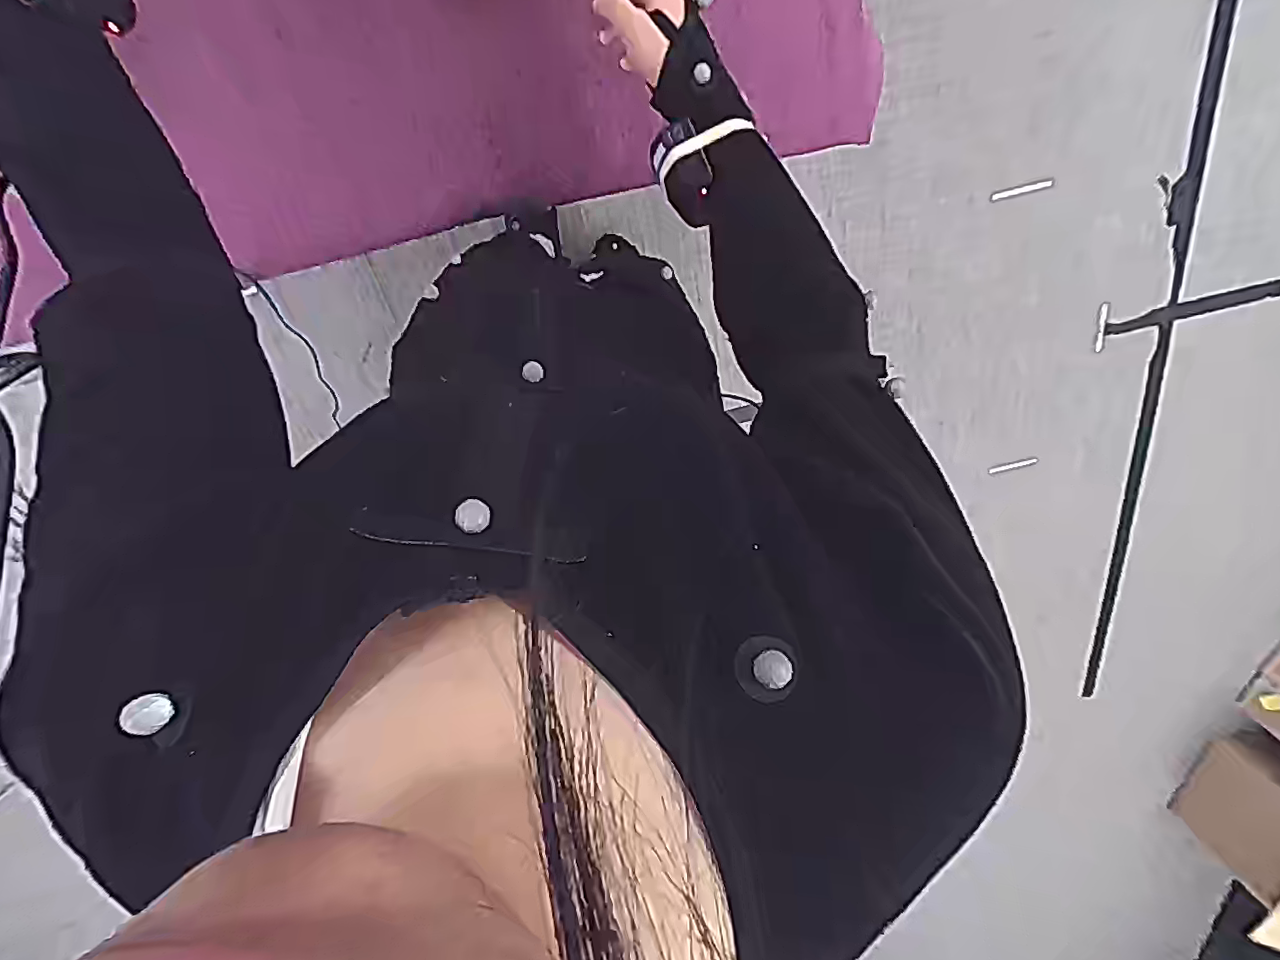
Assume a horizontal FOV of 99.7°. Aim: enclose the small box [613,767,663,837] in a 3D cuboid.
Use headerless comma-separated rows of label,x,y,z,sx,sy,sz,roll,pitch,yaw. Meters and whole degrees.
small box,-0.011,1.259,2.129,0.168,0.176,0.179,-11,117,1
